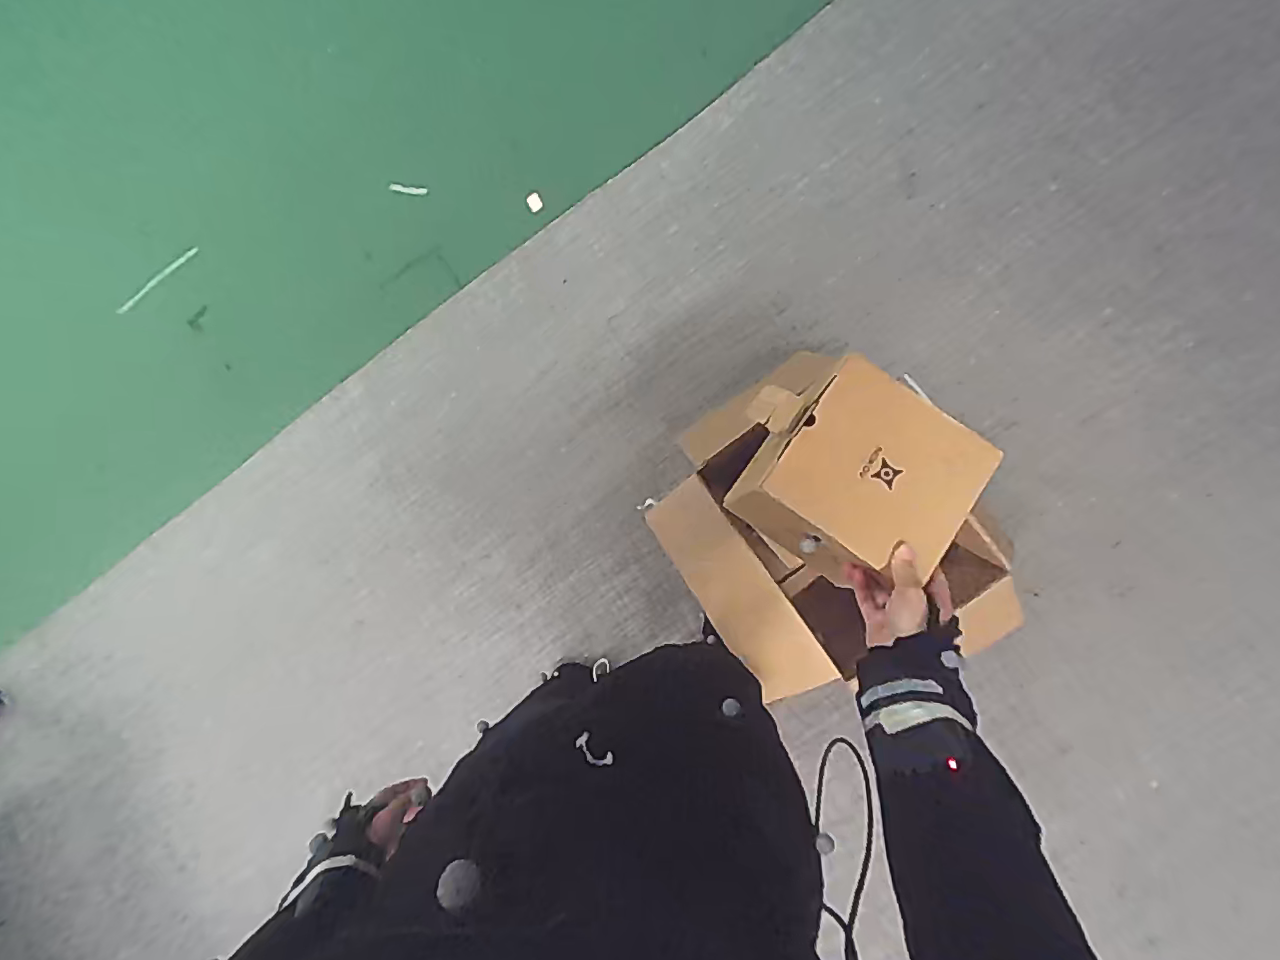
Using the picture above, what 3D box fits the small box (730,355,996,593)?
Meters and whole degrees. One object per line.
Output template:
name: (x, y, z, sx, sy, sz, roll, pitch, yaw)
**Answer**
small box: (0.223, 0.001, 0.590, 0.179, 0.176, 0.168, 36, 82, 4)
